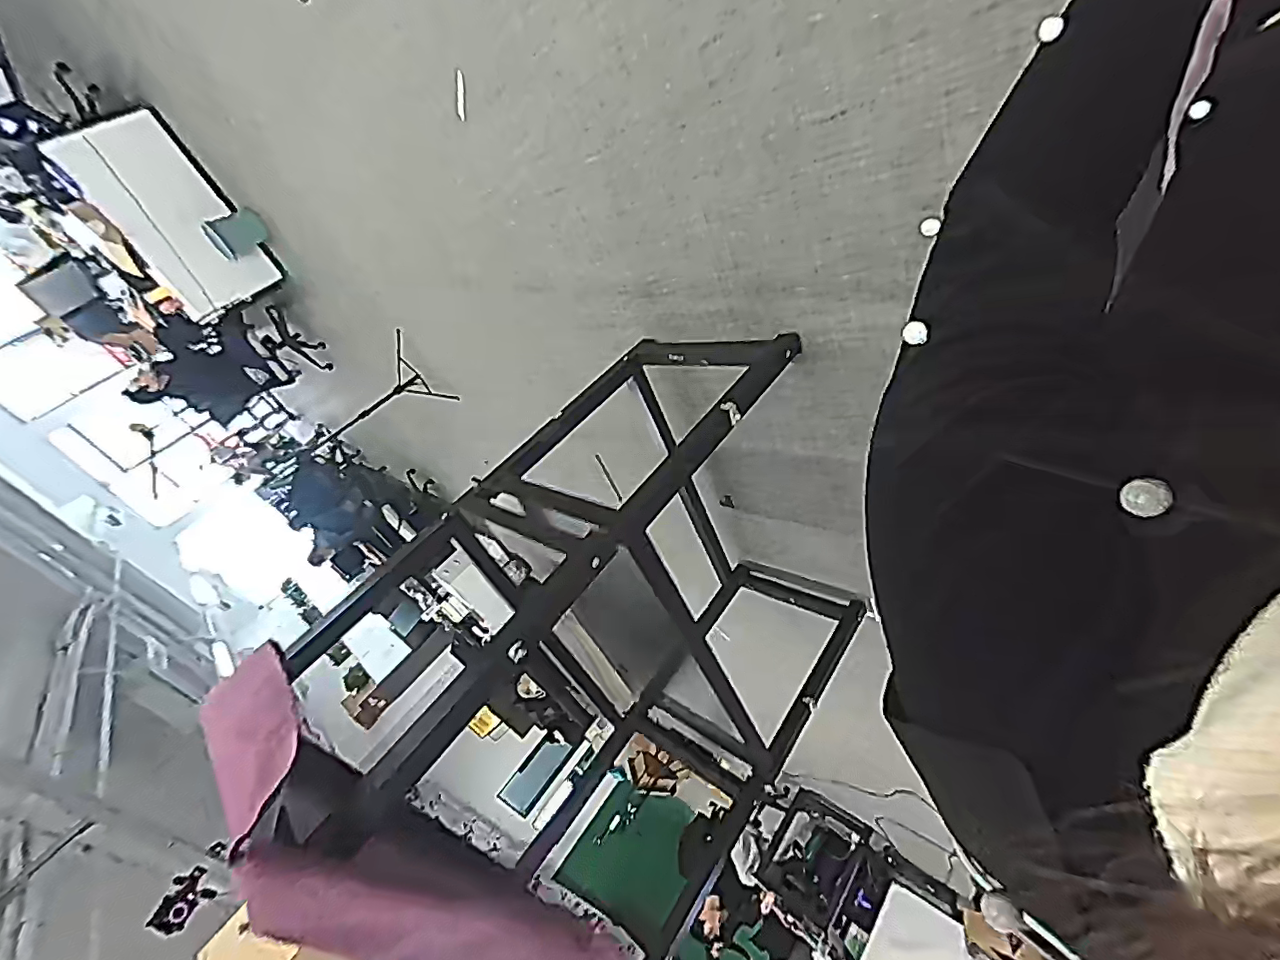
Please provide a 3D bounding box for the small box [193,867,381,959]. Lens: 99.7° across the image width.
[{"bbox_3d":[-0.557,0.762,0.856,0.168,0.176,0.179,16,144,44],"label":"small box"}]
